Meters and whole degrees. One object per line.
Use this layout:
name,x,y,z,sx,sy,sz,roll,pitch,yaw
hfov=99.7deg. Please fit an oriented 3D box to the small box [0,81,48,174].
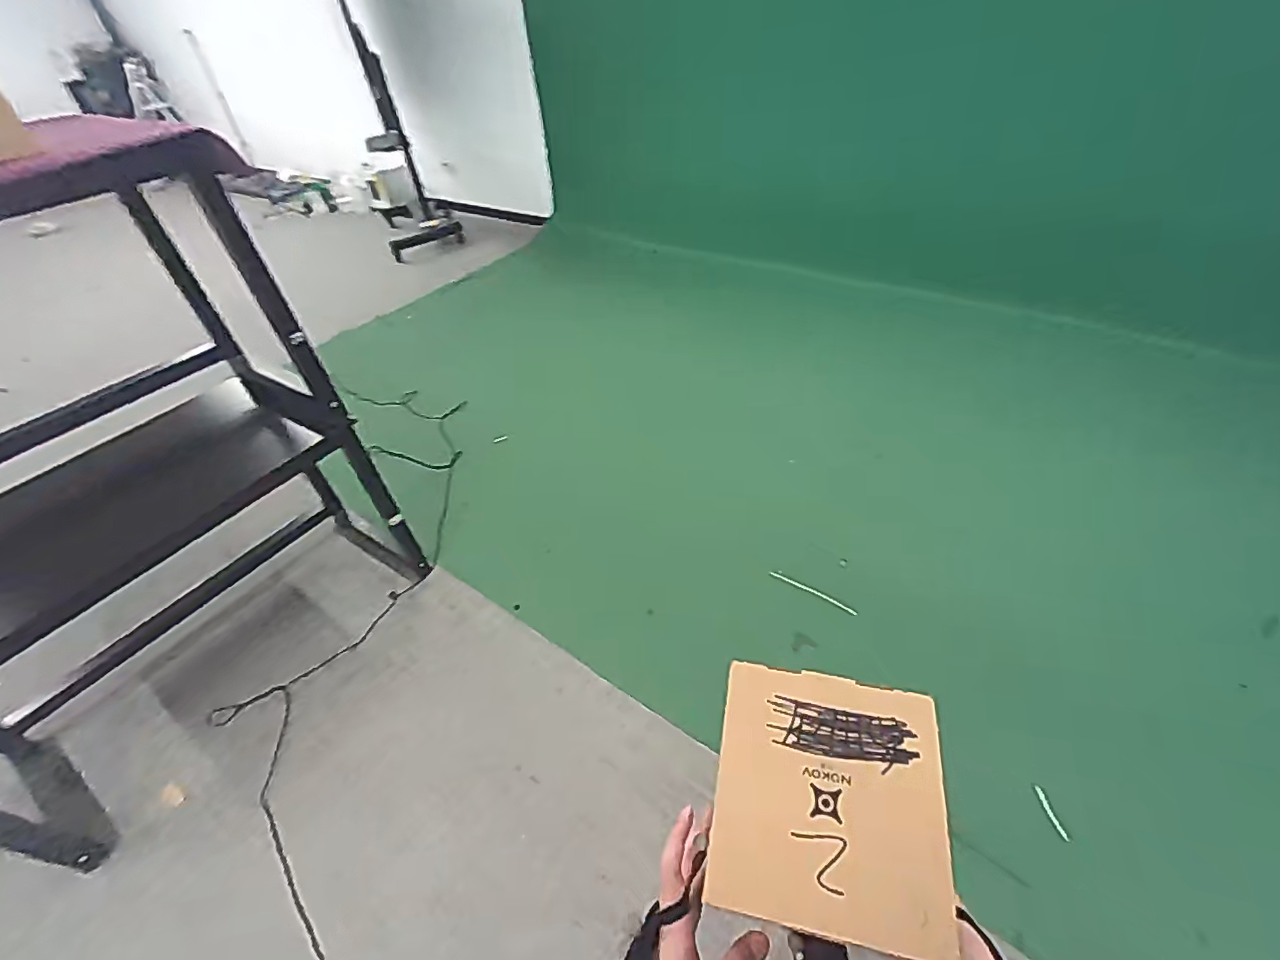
small box,-1.217,-0.635,0.953,0.168,0.176,0.179,21,49,29
